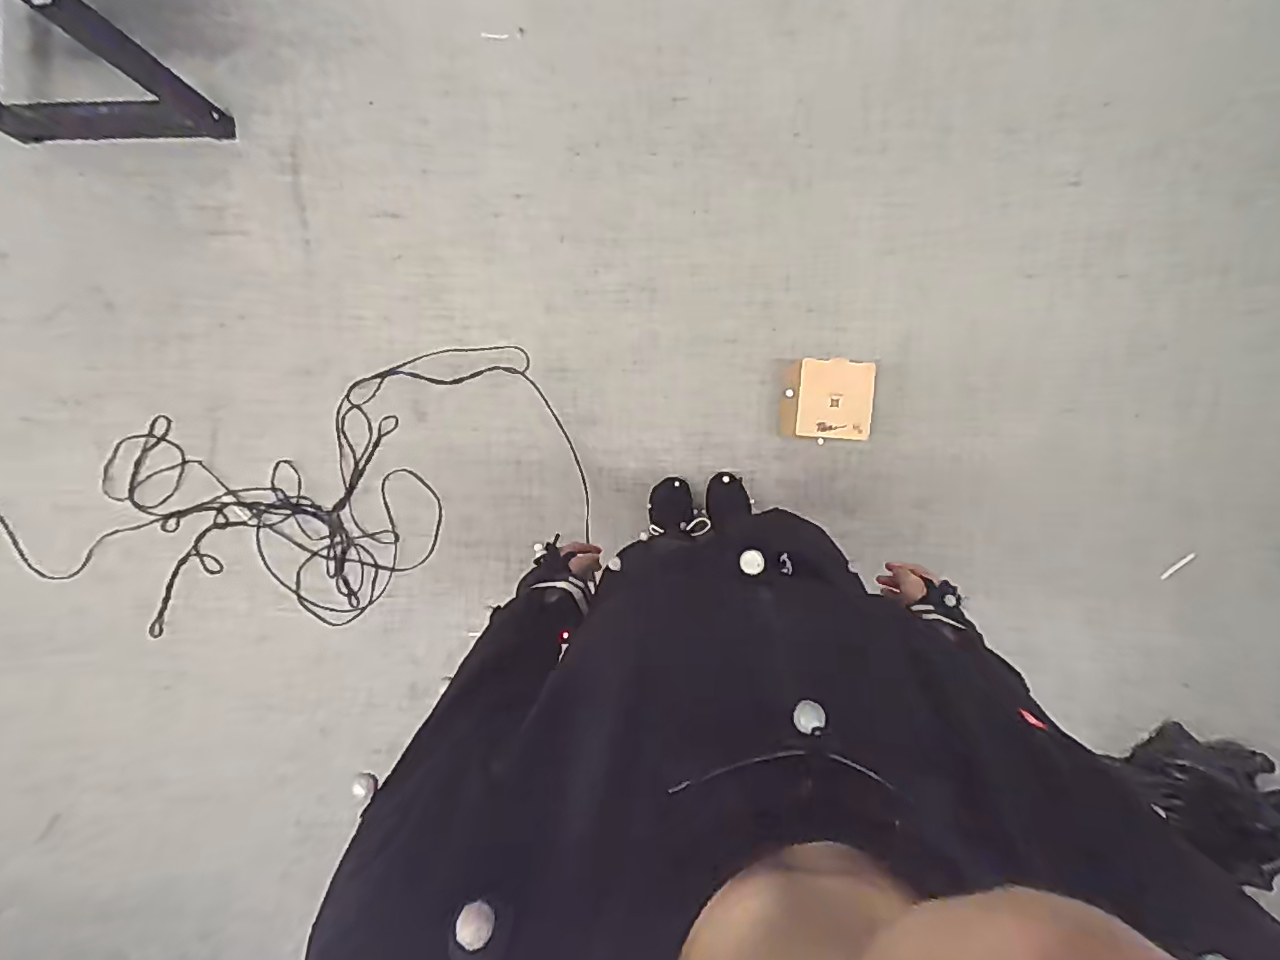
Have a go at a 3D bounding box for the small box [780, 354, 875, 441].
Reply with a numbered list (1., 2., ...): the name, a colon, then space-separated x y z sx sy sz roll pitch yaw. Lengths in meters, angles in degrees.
1. small box: 0.436 -0.189 1.278 0.168 0.176 0.179 4 92 2
